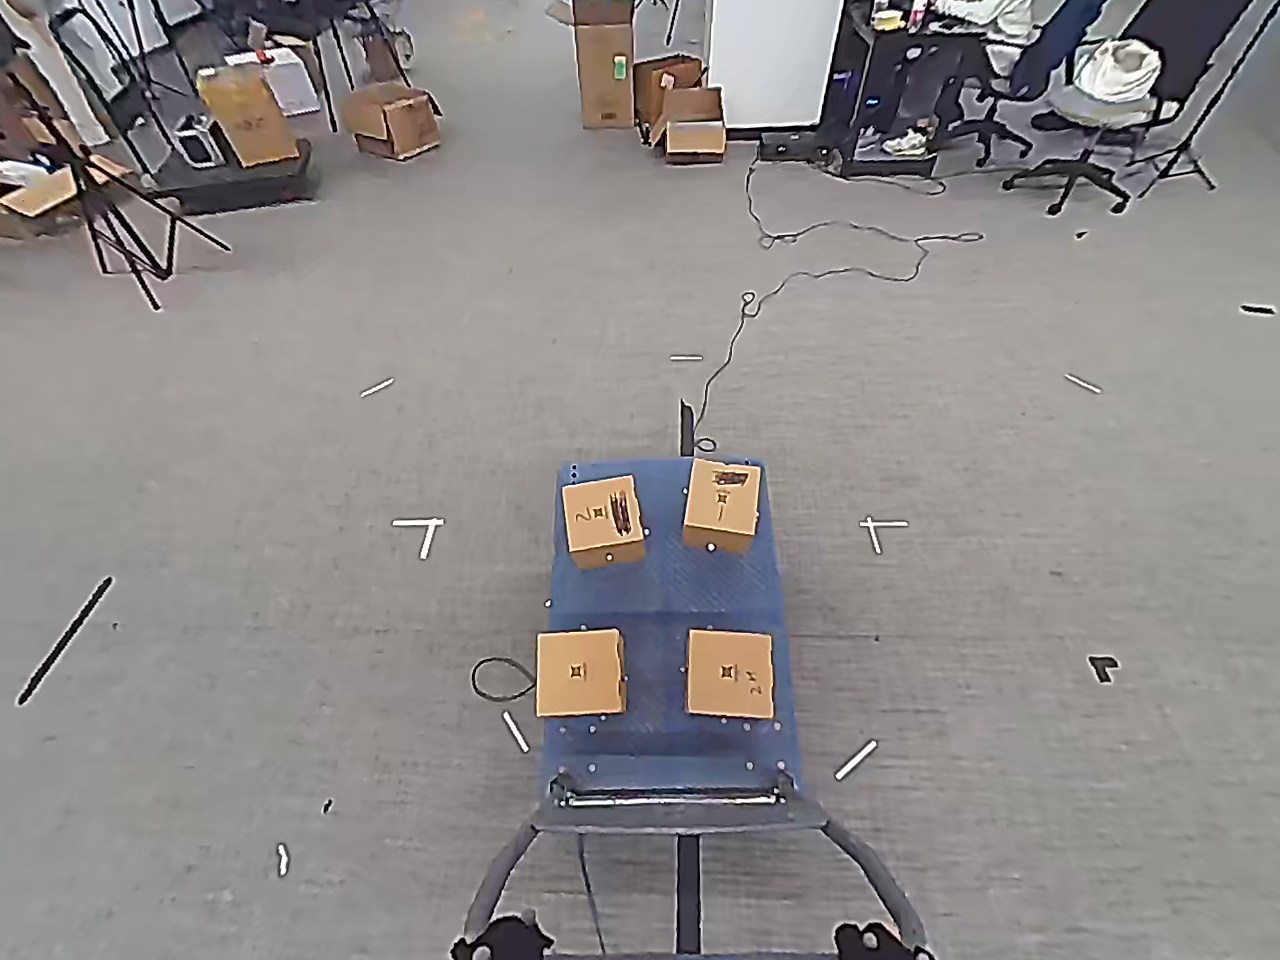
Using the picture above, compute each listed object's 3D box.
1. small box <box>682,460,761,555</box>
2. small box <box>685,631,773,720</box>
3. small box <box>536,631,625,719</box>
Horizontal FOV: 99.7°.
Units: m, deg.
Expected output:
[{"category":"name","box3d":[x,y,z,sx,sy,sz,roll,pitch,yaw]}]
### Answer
[{"category":"small box","box3d":[0.198,0.072,1.349,0.168,0.176,0.179,8,68,6]},{"category":"small box","box3d":[0.190,0.434,1.191,0.179,0.176,0.168,3,67,3]},{"category":"small box","box3d":[-0.127,0.437,1.202,0.179,0.176,0.168,-4,66,-1]}]
